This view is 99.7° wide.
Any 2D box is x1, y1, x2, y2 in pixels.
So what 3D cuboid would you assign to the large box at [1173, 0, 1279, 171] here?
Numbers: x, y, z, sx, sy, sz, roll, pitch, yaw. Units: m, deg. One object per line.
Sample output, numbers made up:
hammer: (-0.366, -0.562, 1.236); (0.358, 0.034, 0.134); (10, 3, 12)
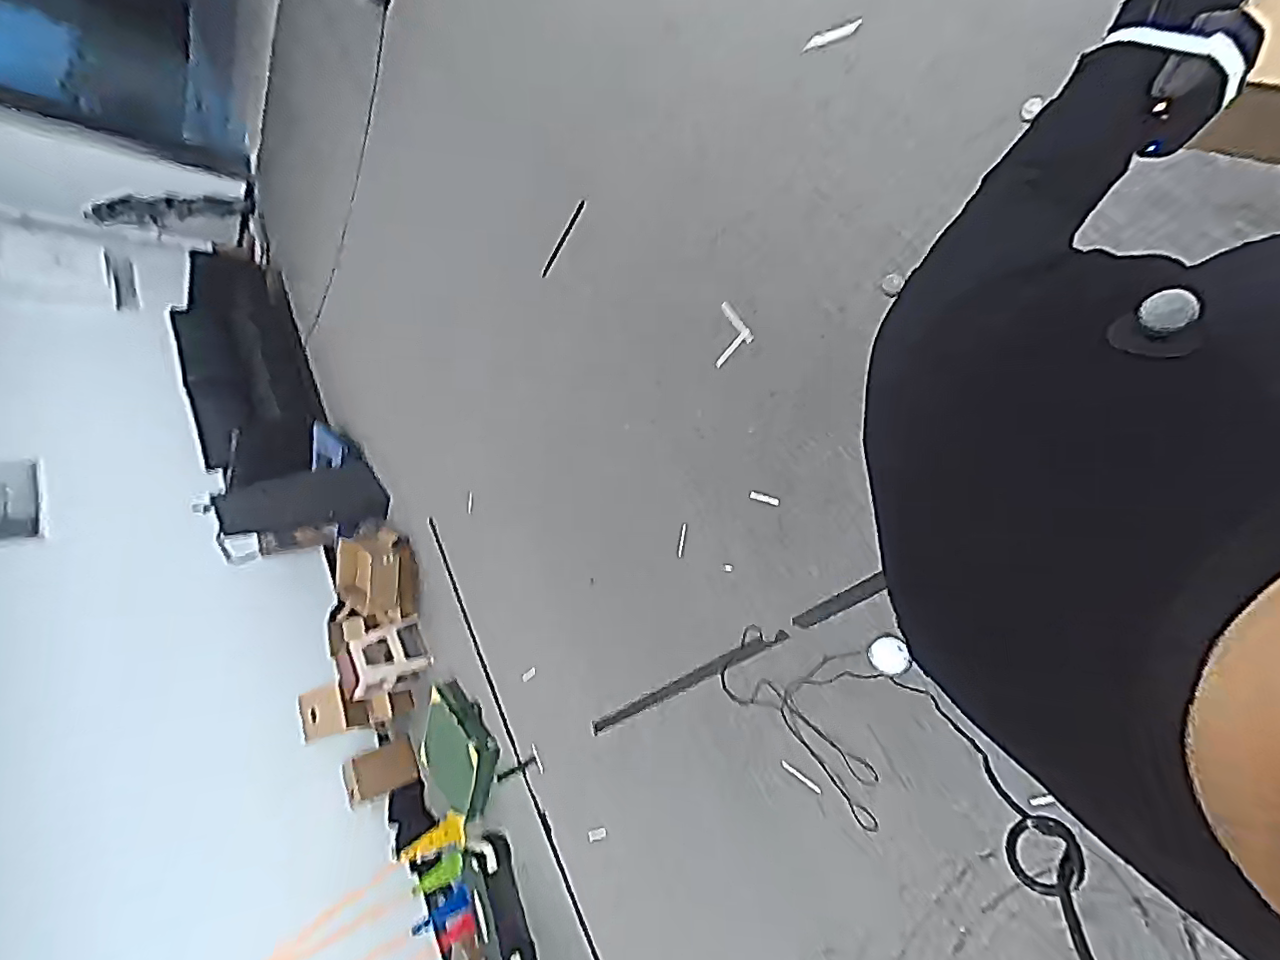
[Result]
large box: (0.684, -0.368, 0.341); (0.408, 0.320, 0.320); (34, 127, 30)
